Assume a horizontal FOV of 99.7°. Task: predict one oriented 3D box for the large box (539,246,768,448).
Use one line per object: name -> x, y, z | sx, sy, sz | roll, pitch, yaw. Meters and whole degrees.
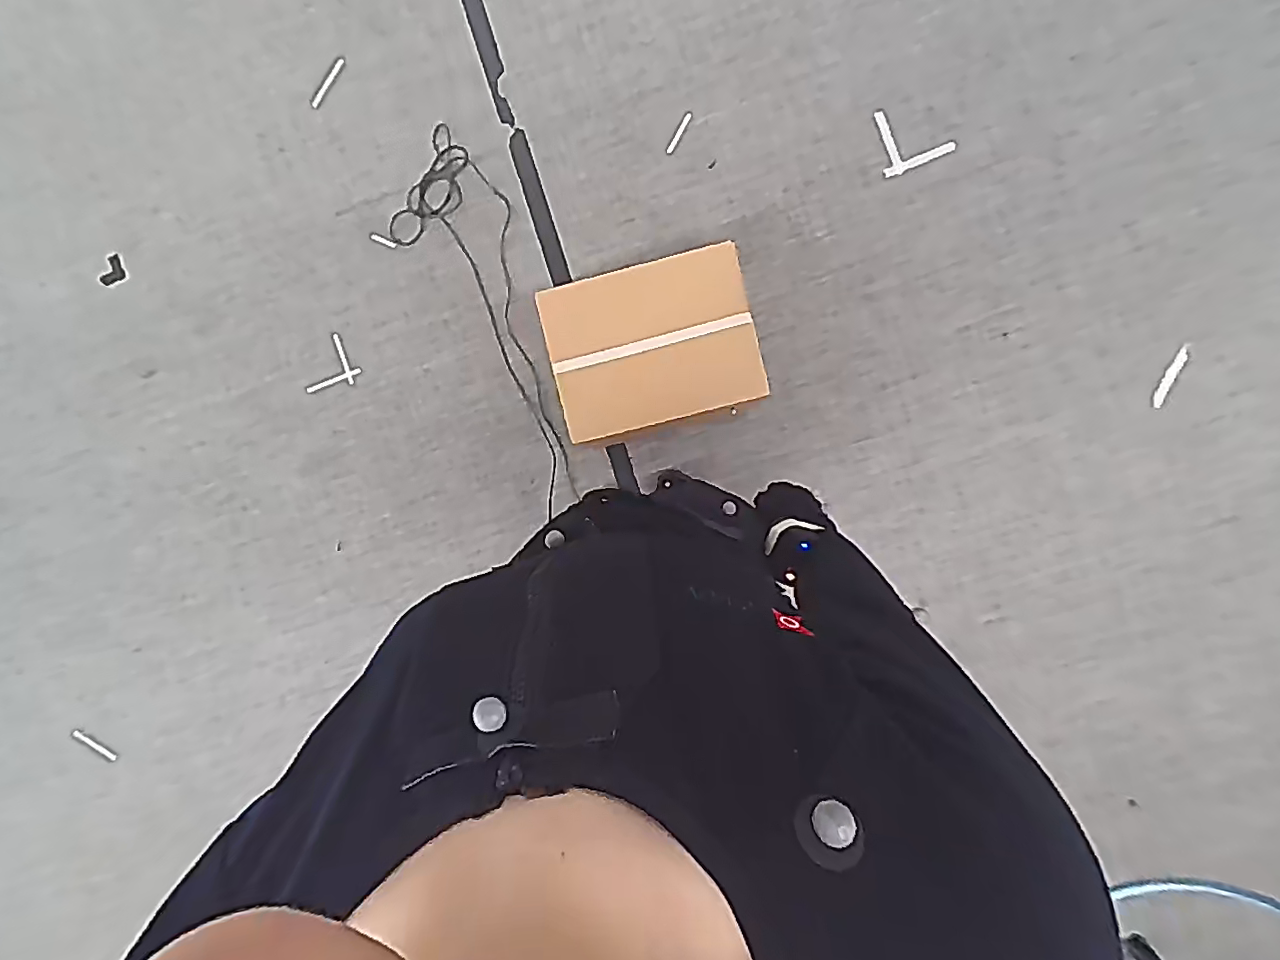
large box -> 0.034, -0.269, 1.220 | 0.408, 0.320, 0.320 | -14, 90, 4
